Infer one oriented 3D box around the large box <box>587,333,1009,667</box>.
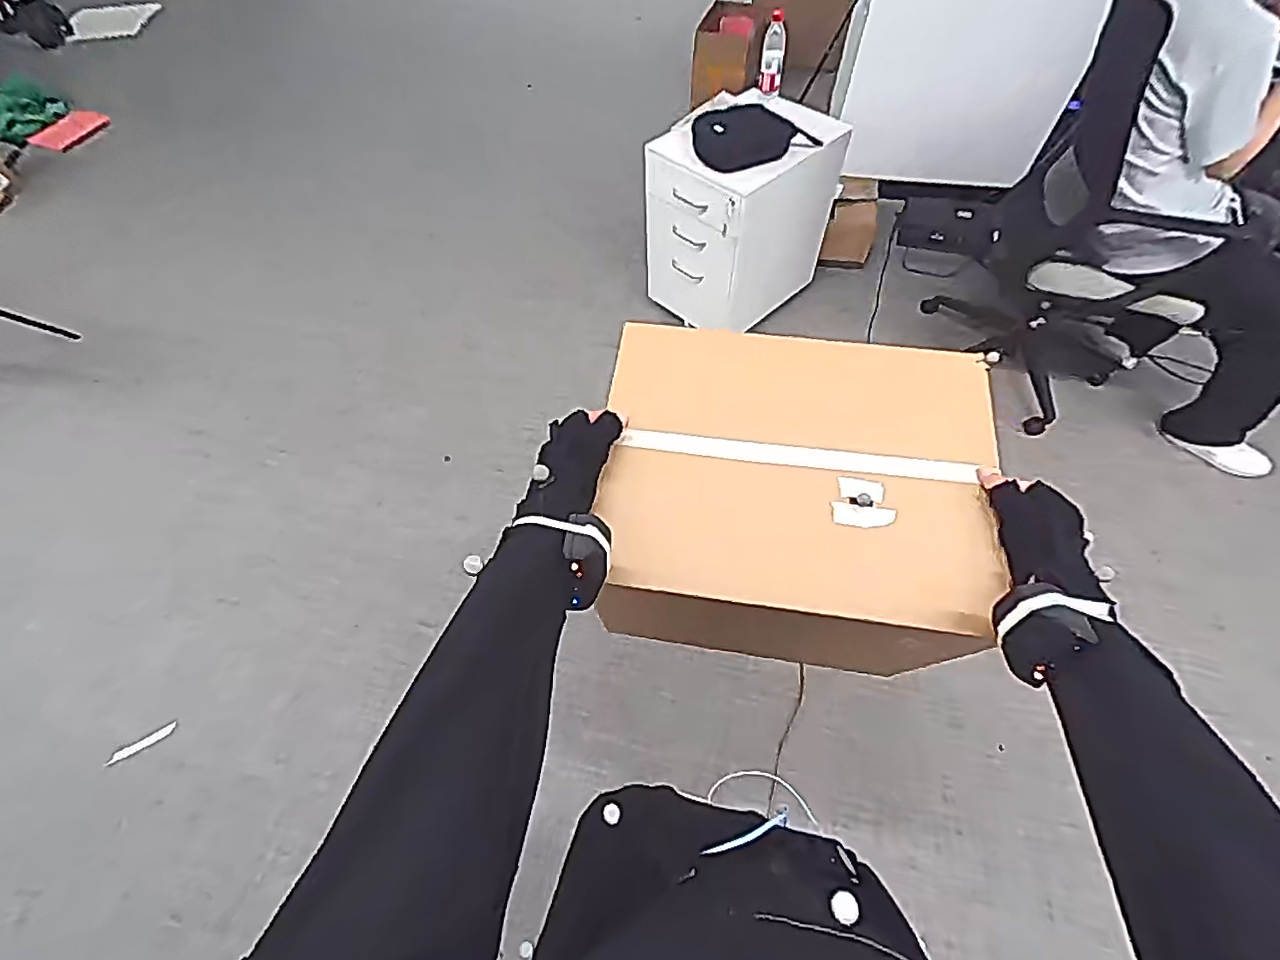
[{"bbox_3d":[0.169,0.042,0.706,0.408,0.320,0.320,7,67,6],"label":"large box"}]
